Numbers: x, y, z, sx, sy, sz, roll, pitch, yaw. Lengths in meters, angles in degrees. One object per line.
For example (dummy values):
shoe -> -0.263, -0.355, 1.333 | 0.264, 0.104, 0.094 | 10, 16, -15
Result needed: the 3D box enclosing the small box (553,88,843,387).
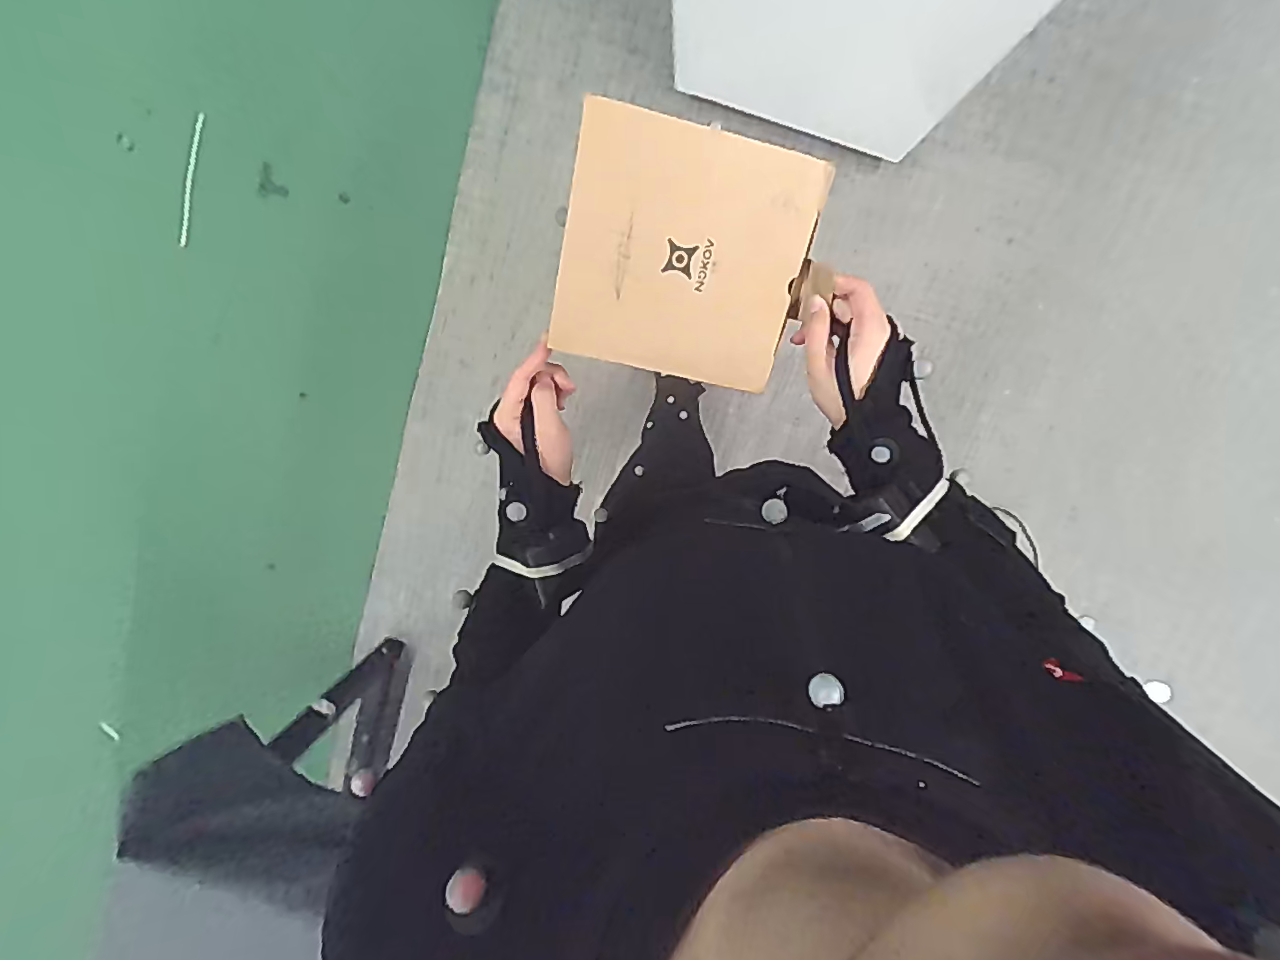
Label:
small box -> 0.033, -0.190, 0.457 | 0.179, 0.176, 0.168 | 11, 110, -7
